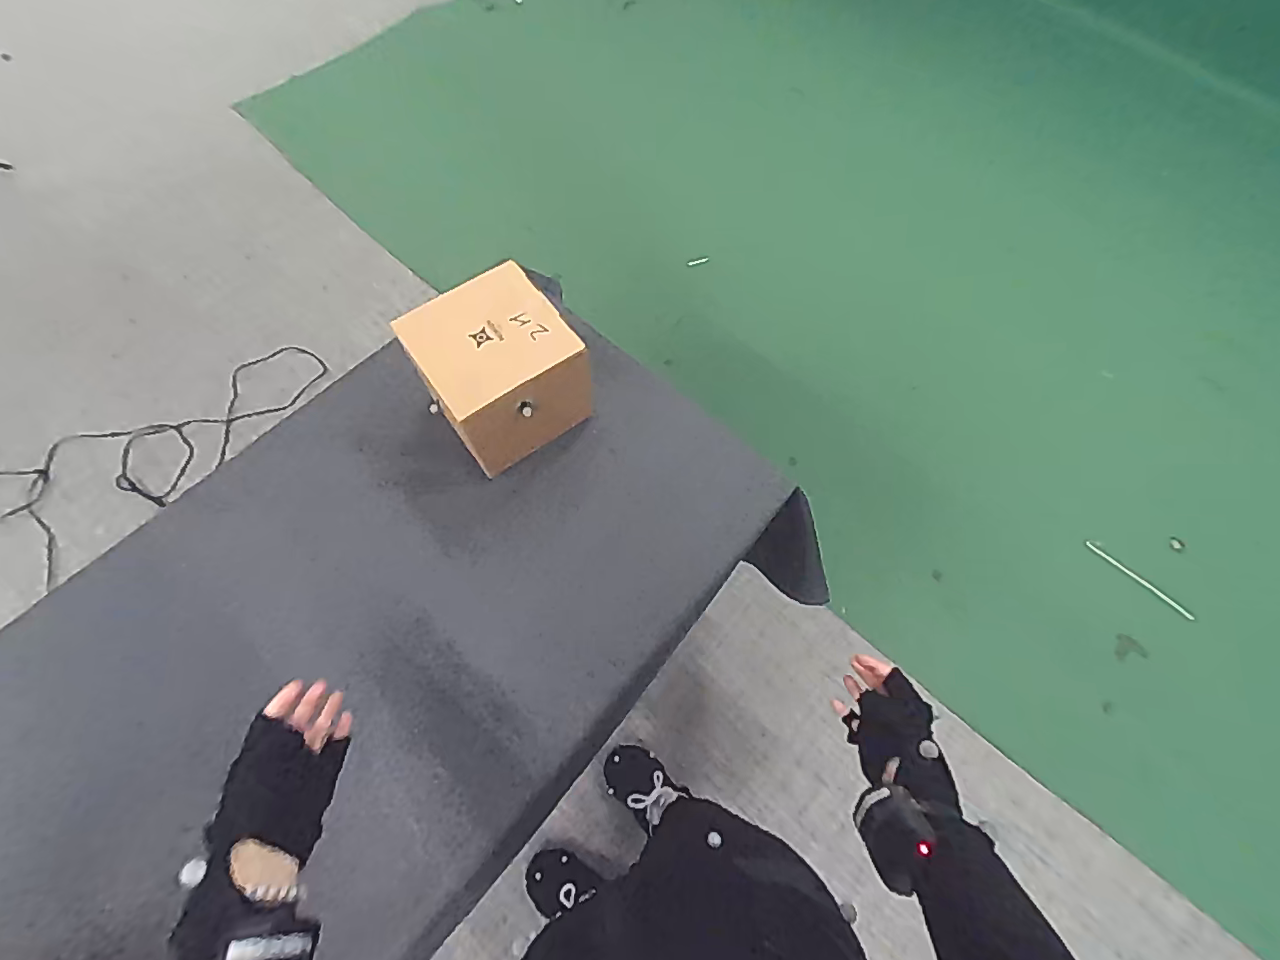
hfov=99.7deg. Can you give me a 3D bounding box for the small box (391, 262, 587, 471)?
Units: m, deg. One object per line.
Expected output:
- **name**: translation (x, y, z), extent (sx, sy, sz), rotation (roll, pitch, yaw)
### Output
- **small box**: translation (-0.183, -0.140, 0.712), extent (0.179, 0.176, 0.168), rotation (-34, 73, -15)
